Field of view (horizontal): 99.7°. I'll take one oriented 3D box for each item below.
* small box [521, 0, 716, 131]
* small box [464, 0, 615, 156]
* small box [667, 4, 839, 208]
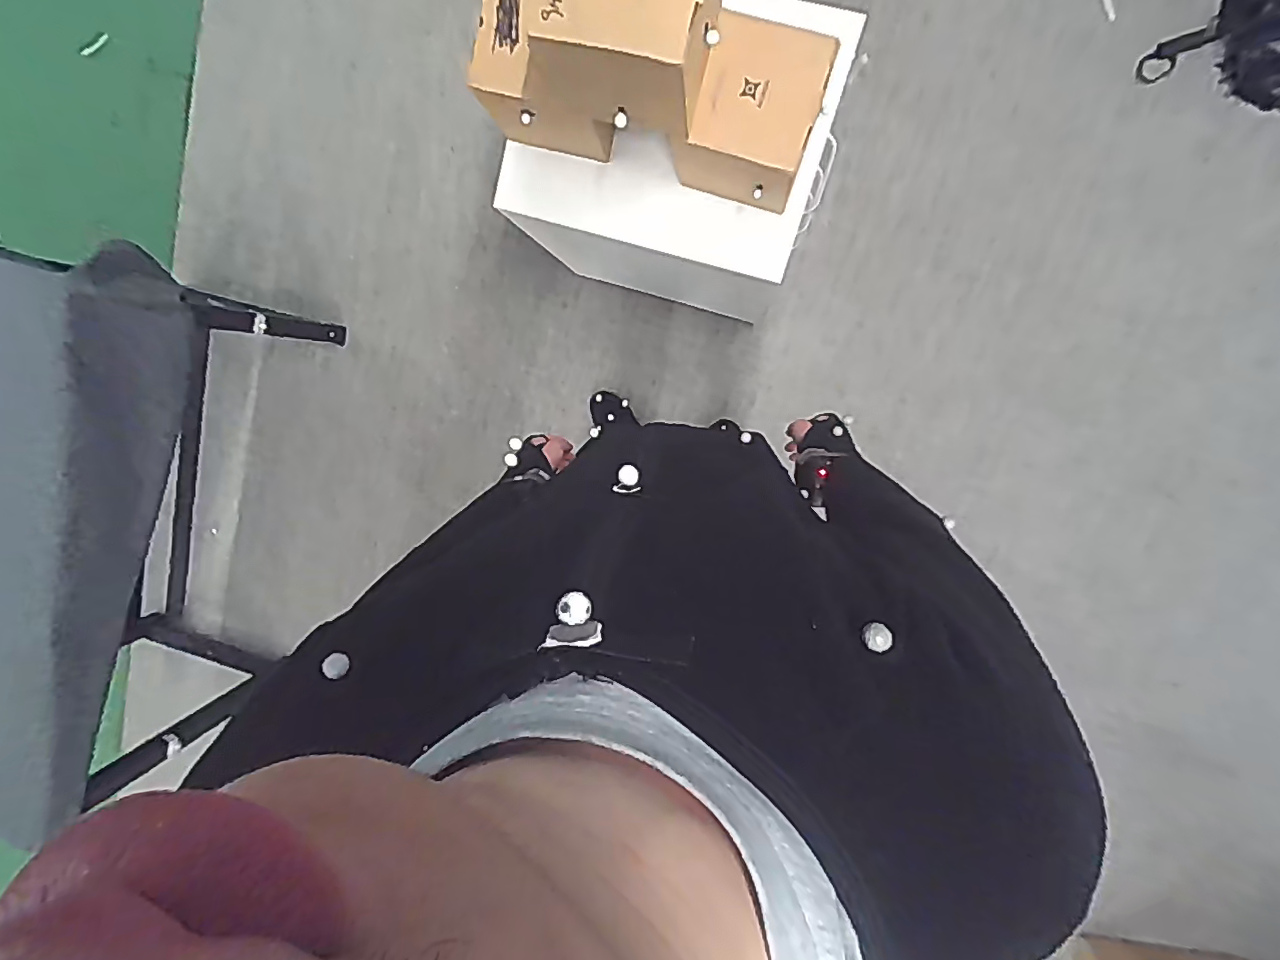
[{"bbox_3d":[-0.012,-0.535,0.620,0.179,0.176,0.168,15,101,4],"label":"small box"},{"bbox_3d":[-0.127,-0.606,0.791,0.179,0.176,0.168,16,102,4],"label":"small box"},{"bbox_3d":[0.154,-0.511,0.768,0.179,0.176,0.168,19,101,7],"label":"small box"}]
